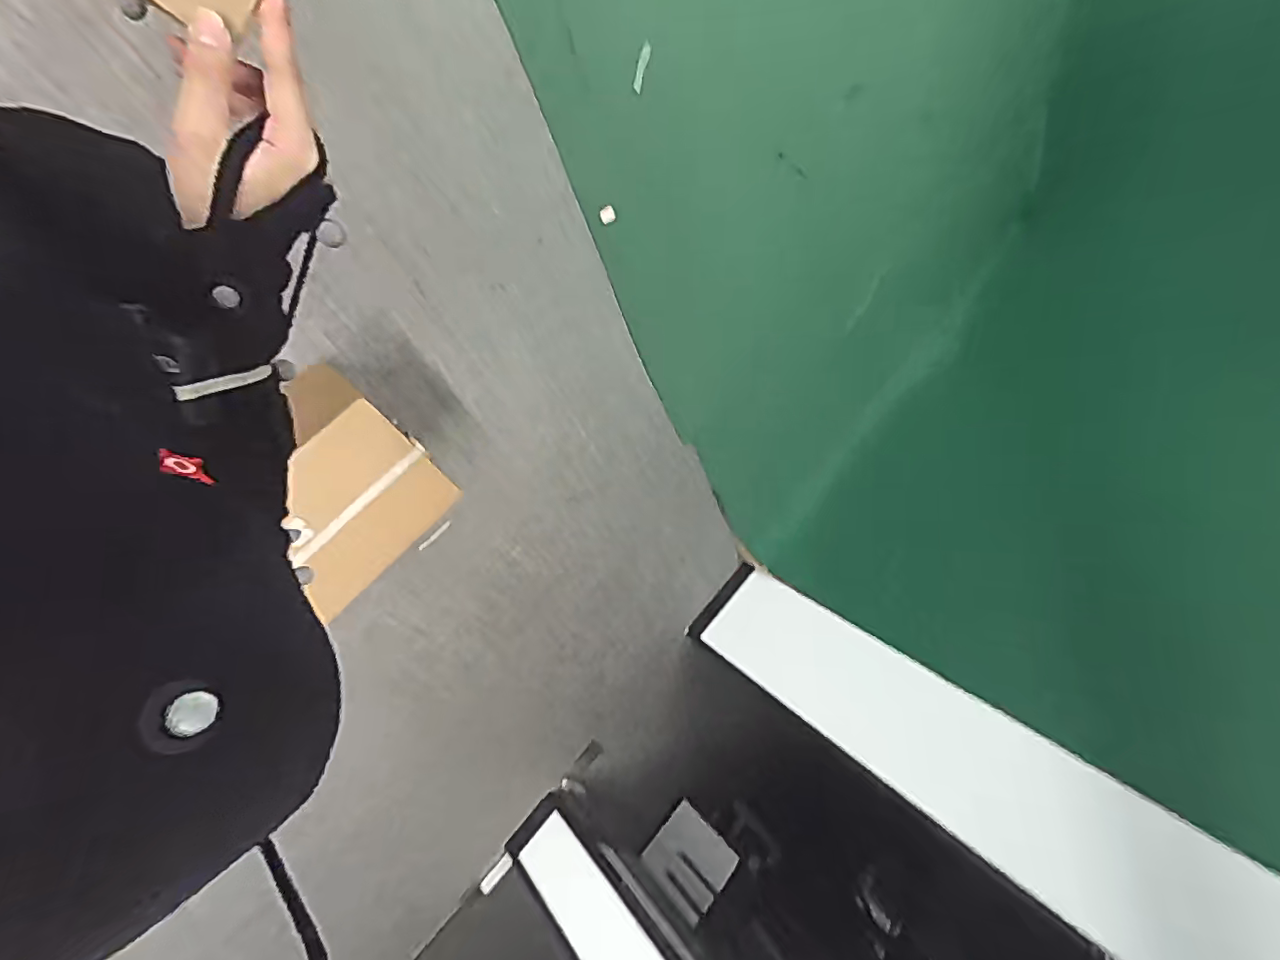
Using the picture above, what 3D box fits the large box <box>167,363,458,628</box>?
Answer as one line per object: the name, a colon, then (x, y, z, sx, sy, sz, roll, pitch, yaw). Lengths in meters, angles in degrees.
large box: (-0.685, 0.021, 1.155, 0.408, 0.320, 0.320, -46, 136, -14)
